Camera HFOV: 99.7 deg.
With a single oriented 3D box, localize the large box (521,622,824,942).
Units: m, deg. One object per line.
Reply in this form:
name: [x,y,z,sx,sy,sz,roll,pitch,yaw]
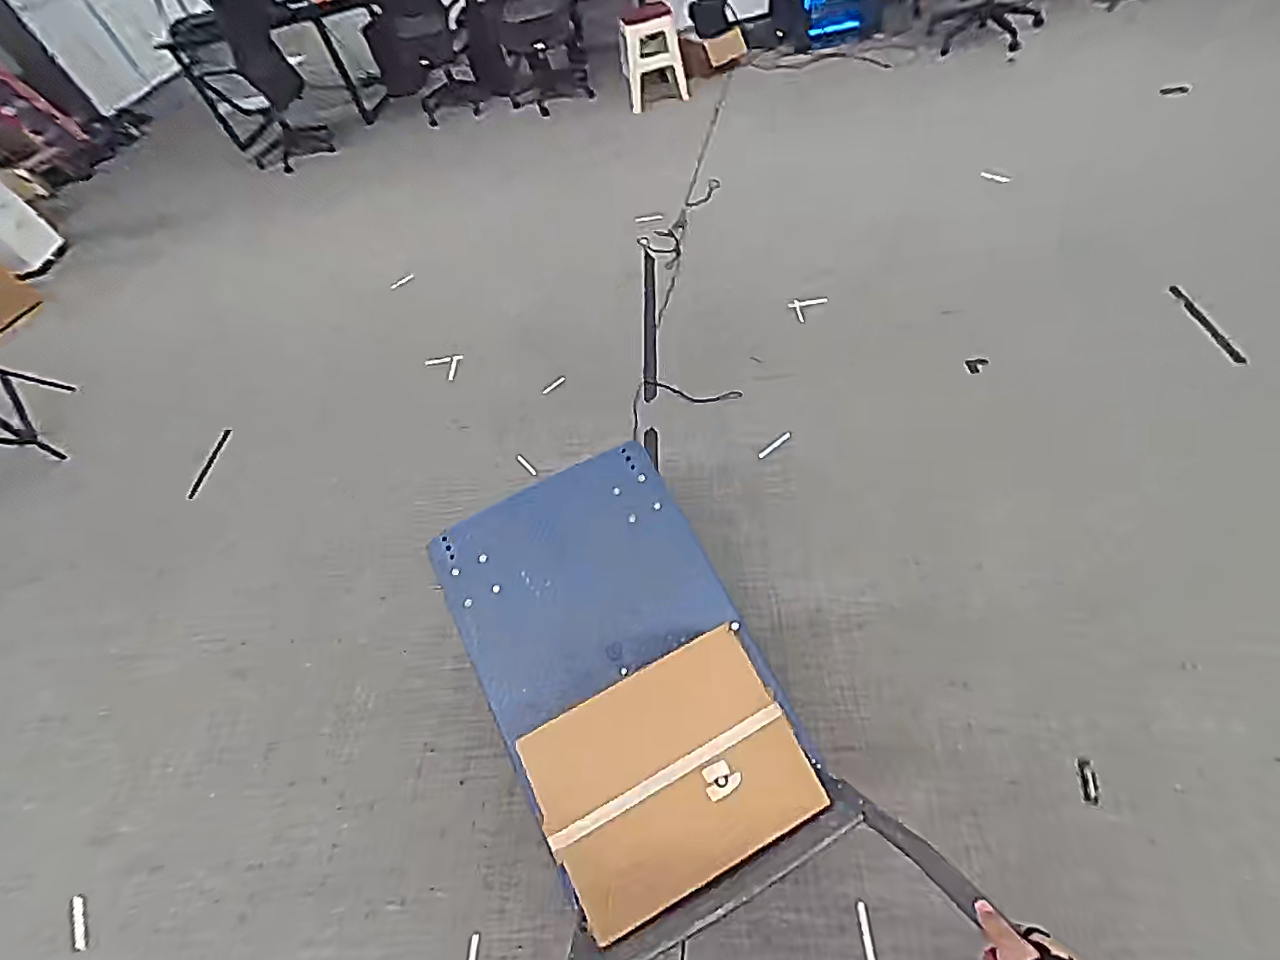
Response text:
large box: [0.048,0.514,1.006,0.408,0.320,0.320,-28,74,-9]
